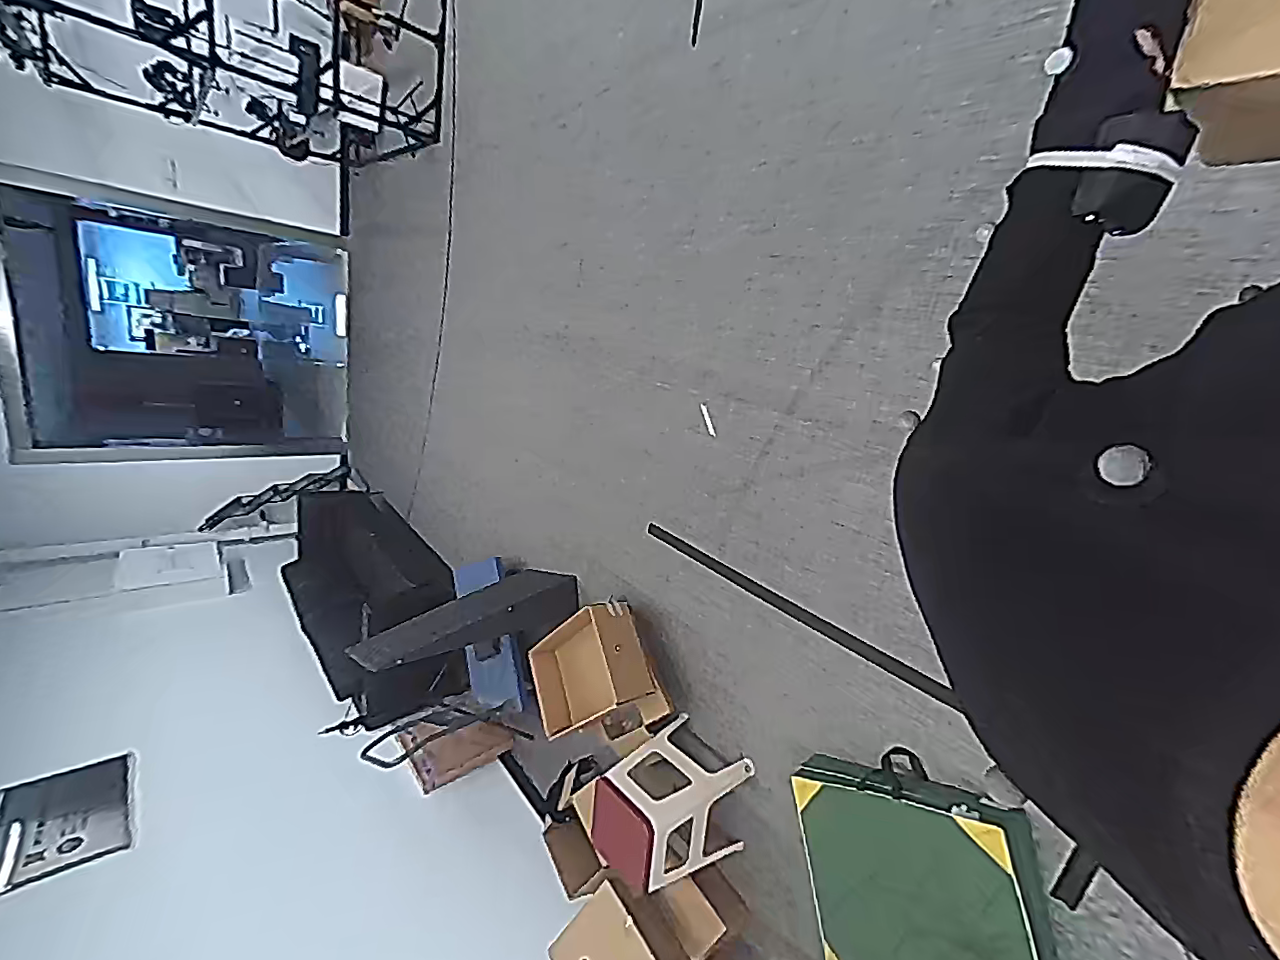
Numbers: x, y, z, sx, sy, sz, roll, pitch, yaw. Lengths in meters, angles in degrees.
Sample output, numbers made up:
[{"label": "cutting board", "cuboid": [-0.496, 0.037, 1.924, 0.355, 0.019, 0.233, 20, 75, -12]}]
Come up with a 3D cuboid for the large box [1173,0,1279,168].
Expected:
[{"label": "large box", "cuboid": [0.604, -0.386, 0.279, 0.408, 0.320, 0.320, 21, 118, 44]}]
